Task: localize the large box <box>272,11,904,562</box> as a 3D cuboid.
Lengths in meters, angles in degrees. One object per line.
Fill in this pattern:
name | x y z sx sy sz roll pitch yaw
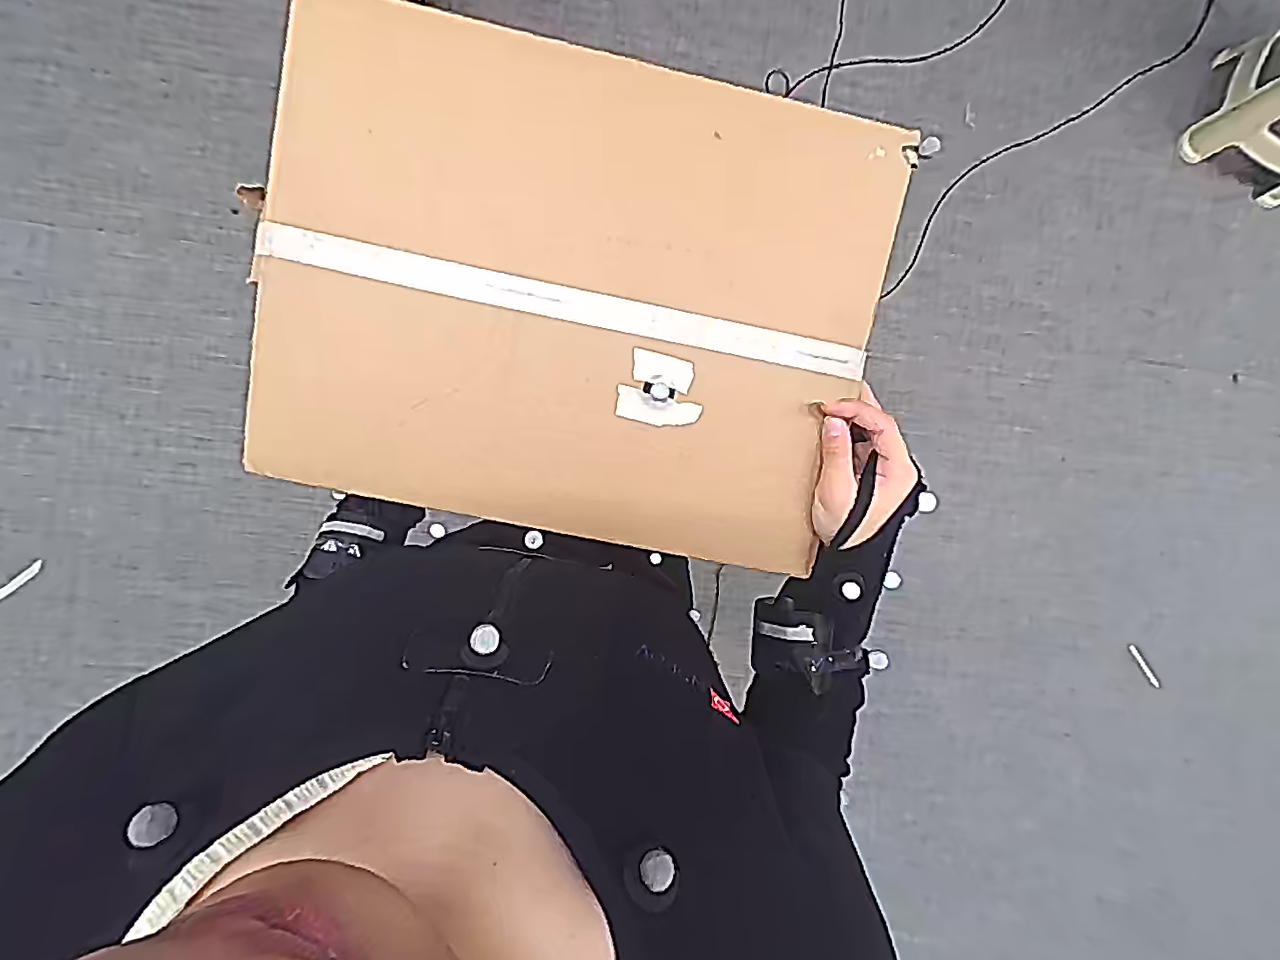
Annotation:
large box | -0.048 -0.137 0.521 0.408 0.320 0.320 10 98 -5
